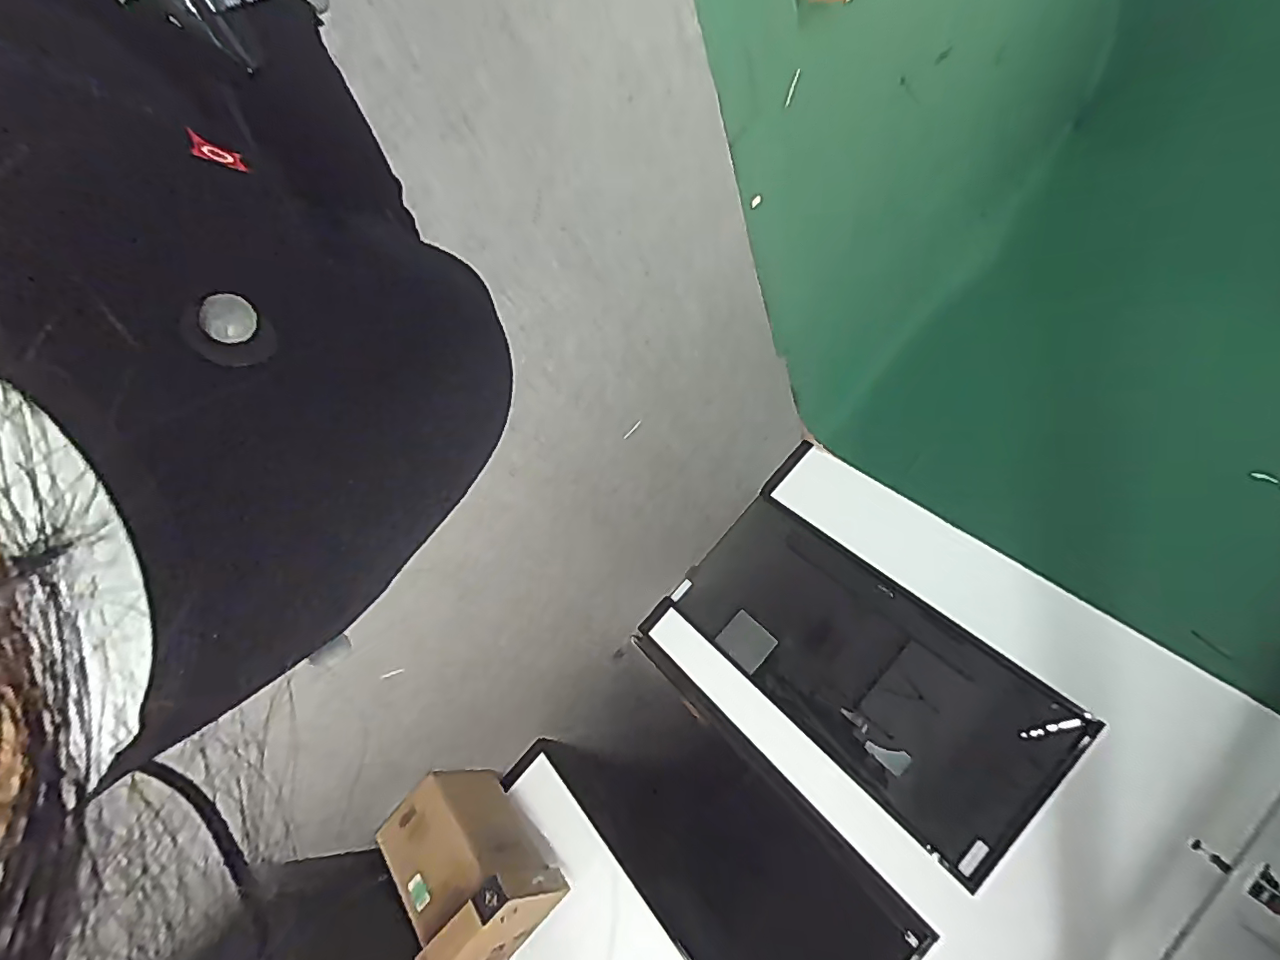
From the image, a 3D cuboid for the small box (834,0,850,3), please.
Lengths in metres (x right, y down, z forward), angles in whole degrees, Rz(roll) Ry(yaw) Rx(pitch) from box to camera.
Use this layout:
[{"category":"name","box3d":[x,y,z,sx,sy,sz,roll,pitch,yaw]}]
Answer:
[{"category":"small box","box3d":[0.623,-1.625,1.664,0.168,0.176,0.179,-46,145,-7]}]
